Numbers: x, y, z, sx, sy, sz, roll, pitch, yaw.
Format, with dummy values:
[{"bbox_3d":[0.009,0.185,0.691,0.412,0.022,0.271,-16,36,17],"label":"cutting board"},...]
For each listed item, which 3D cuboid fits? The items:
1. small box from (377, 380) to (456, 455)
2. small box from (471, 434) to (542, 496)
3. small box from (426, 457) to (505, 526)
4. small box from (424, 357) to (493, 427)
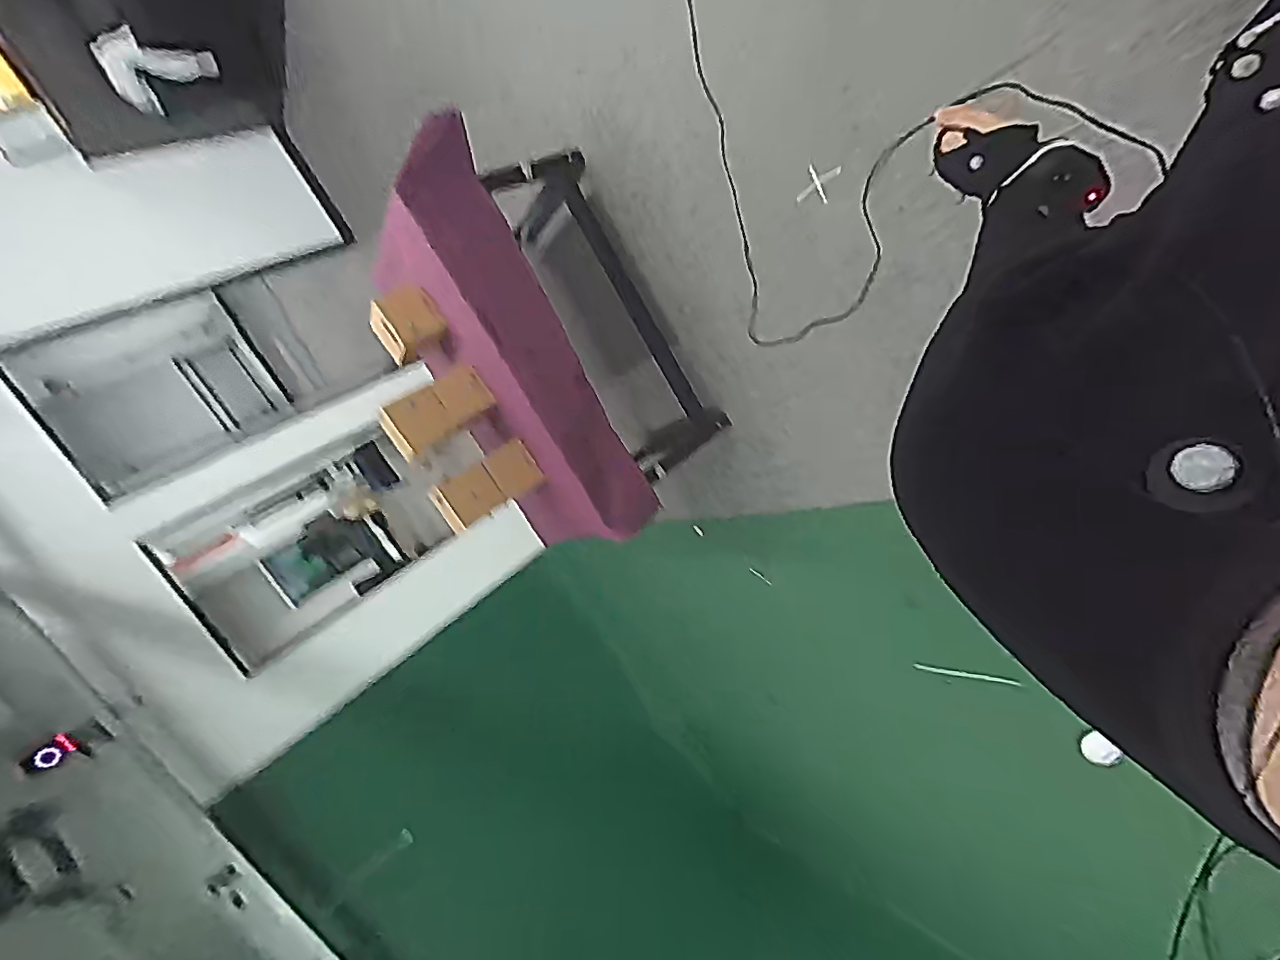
[{"bbox_3d":[-0.747,-0.213,1.804,0.179,0.176,0.168,56,150,-7],"label":"small box"},{"bbox_3d":[-0.484,-0.049,1.940,0.179,0.176,0.168,58,149,-9],"label":"small box"},{"bbox_3d":[-0.596,0.036,1.855,0.179,0.176,0.168,58,148,-10],"label":"small box"},{"bbox_3d":[-0.639,-0.301,1.891,0.168,0.176,0.179,55,148,-5],"label":"small box"}]
